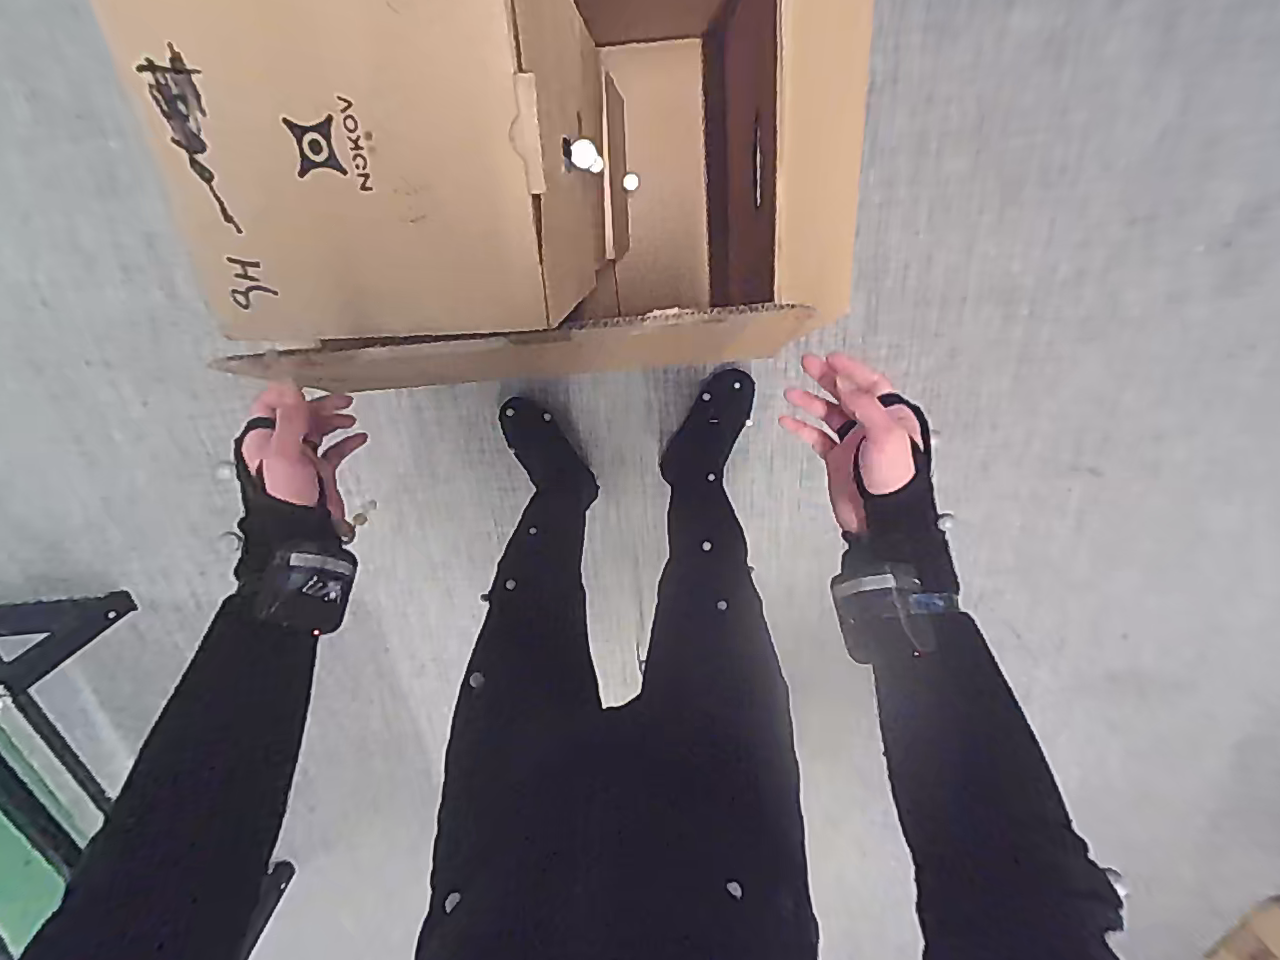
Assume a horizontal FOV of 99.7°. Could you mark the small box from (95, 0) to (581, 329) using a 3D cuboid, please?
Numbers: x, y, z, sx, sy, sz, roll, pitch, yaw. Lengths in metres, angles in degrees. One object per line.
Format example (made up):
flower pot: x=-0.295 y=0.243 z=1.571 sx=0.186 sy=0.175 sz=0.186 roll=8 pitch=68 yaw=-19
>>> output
small box: x=-0.130 y=-0.185 z=0.309 sx=0.179 sy=0.176 sz=0.168 roll=-1 pitch=115 yaw=2
